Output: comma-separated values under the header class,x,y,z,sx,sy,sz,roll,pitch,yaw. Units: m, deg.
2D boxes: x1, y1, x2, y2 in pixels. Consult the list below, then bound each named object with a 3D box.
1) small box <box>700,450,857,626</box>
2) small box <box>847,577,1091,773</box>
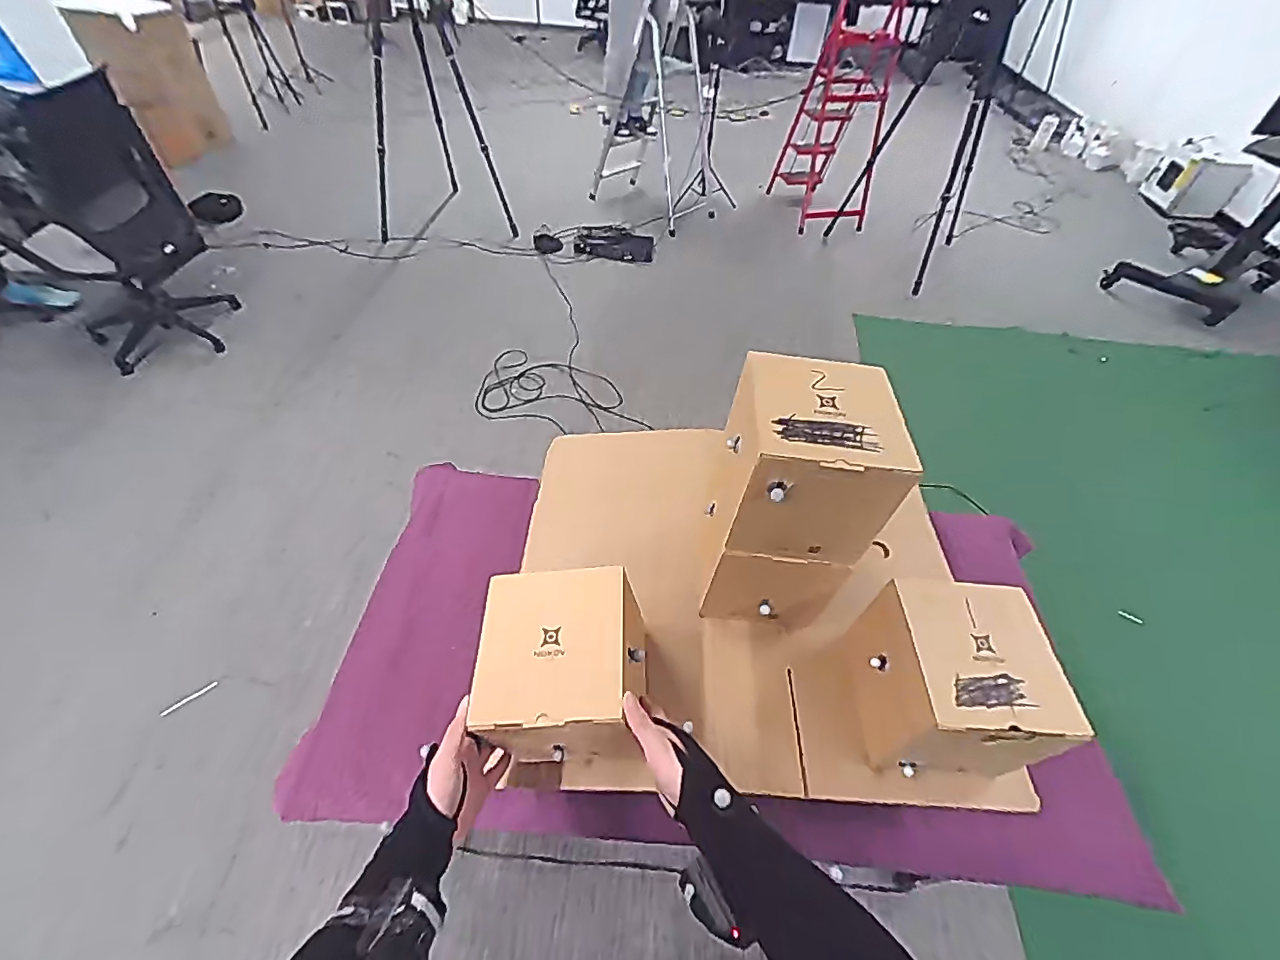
class,x,y,z,sx,sy,sz,roll,pitch,yaw
small box,0.180,0.084,0.767,0.168,0.176,0.179,6,49,-2
small box,0.374,0.241,0.658,0.168,0.176,0.179,5,48,-2
